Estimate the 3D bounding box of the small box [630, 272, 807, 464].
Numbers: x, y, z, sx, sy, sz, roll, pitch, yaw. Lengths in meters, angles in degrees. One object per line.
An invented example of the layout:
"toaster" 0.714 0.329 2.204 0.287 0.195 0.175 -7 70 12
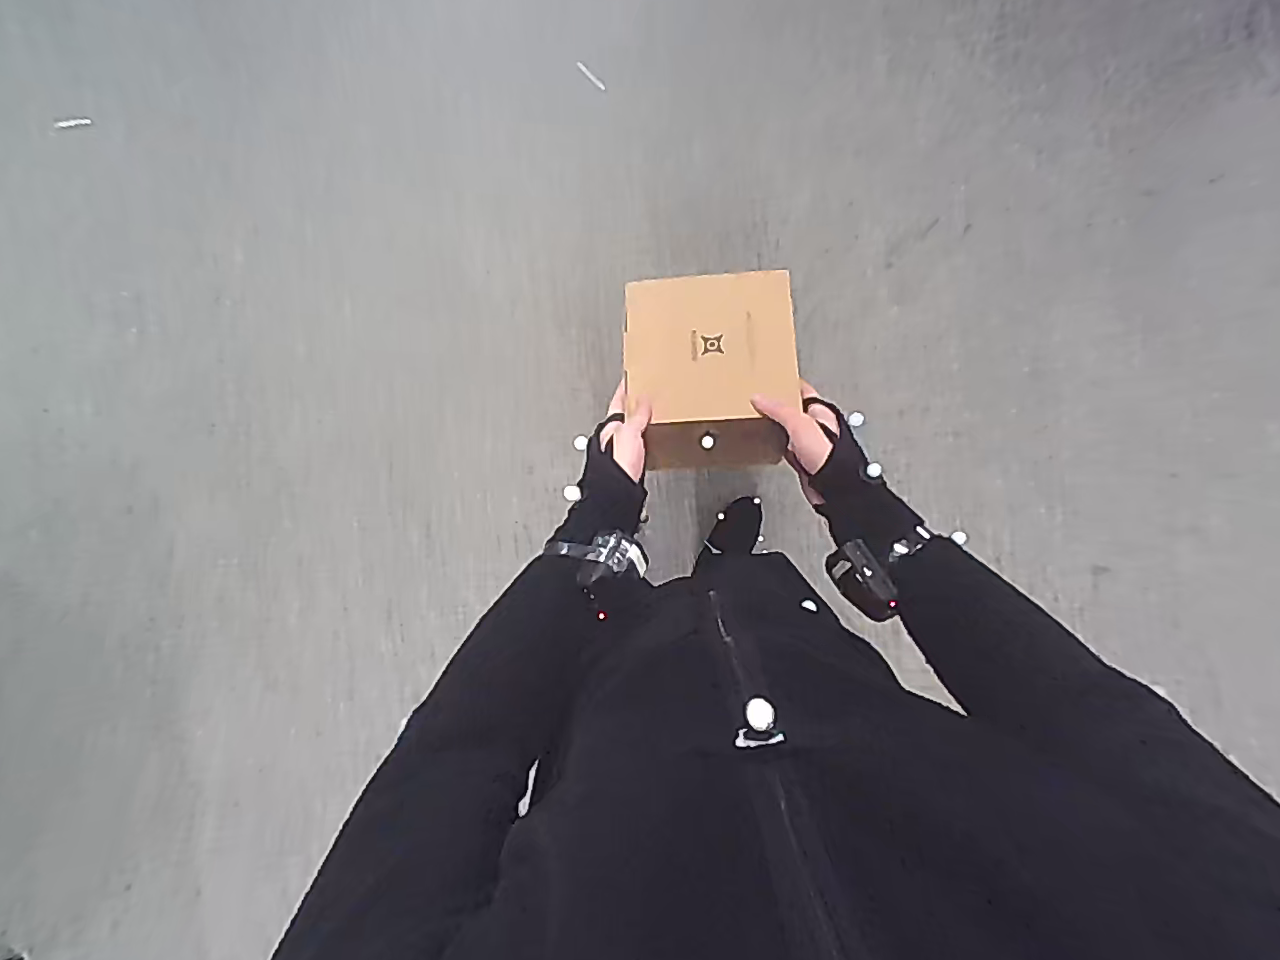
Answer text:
"small box" 0.084 -0.118 0.633 0.179 0.176 0.168 -2 76 3
